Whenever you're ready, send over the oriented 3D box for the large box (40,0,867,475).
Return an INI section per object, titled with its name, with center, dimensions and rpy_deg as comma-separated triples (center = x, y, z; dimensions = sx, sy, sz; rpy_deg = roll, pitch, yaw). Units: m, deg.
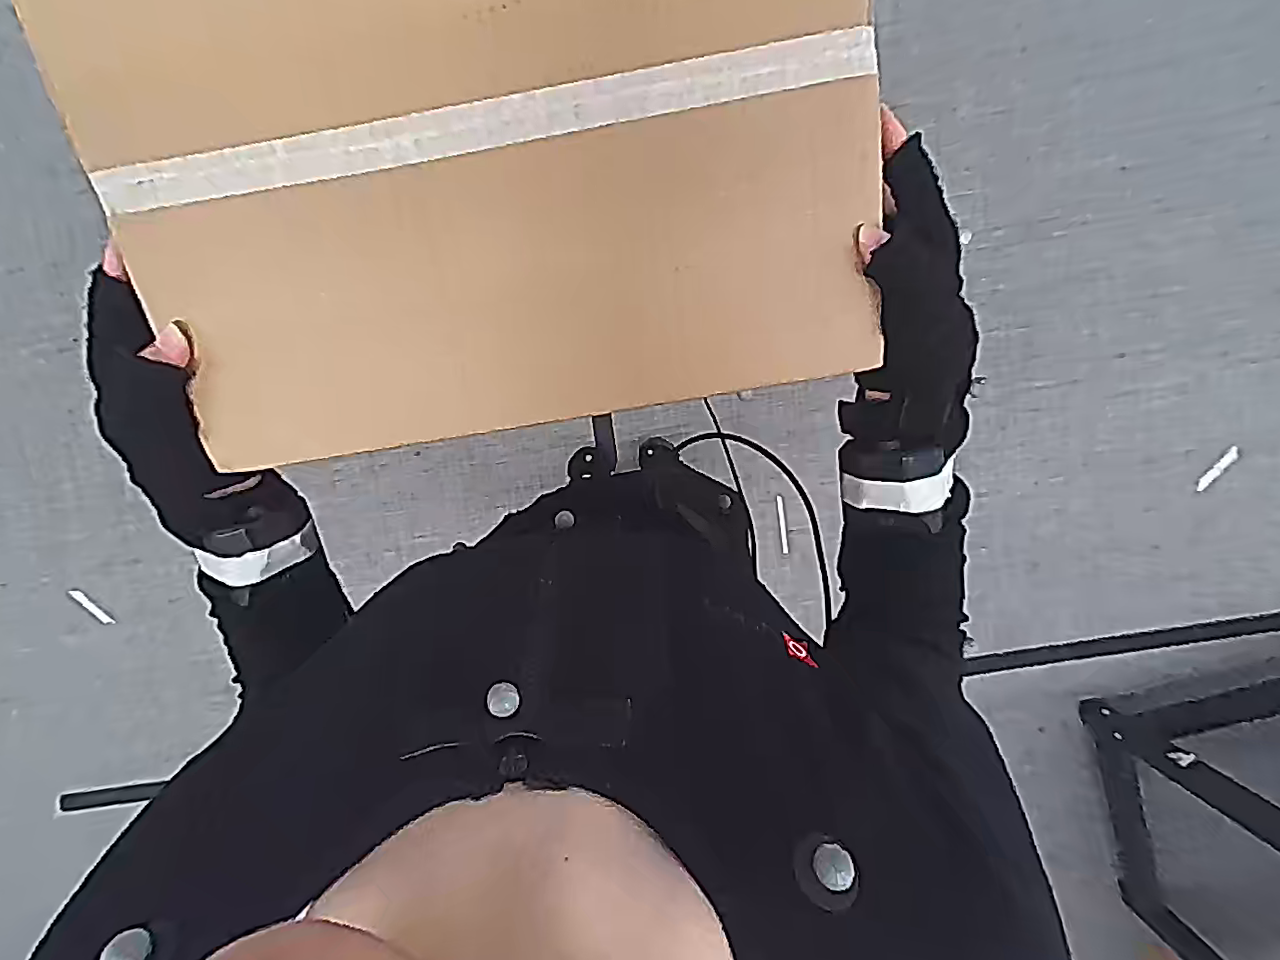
[large box]
center = -0.084, -0.226, 0.429
dimensions = 0.408, 0.320, 0.320
rpy_deg = -9, 107, 2
